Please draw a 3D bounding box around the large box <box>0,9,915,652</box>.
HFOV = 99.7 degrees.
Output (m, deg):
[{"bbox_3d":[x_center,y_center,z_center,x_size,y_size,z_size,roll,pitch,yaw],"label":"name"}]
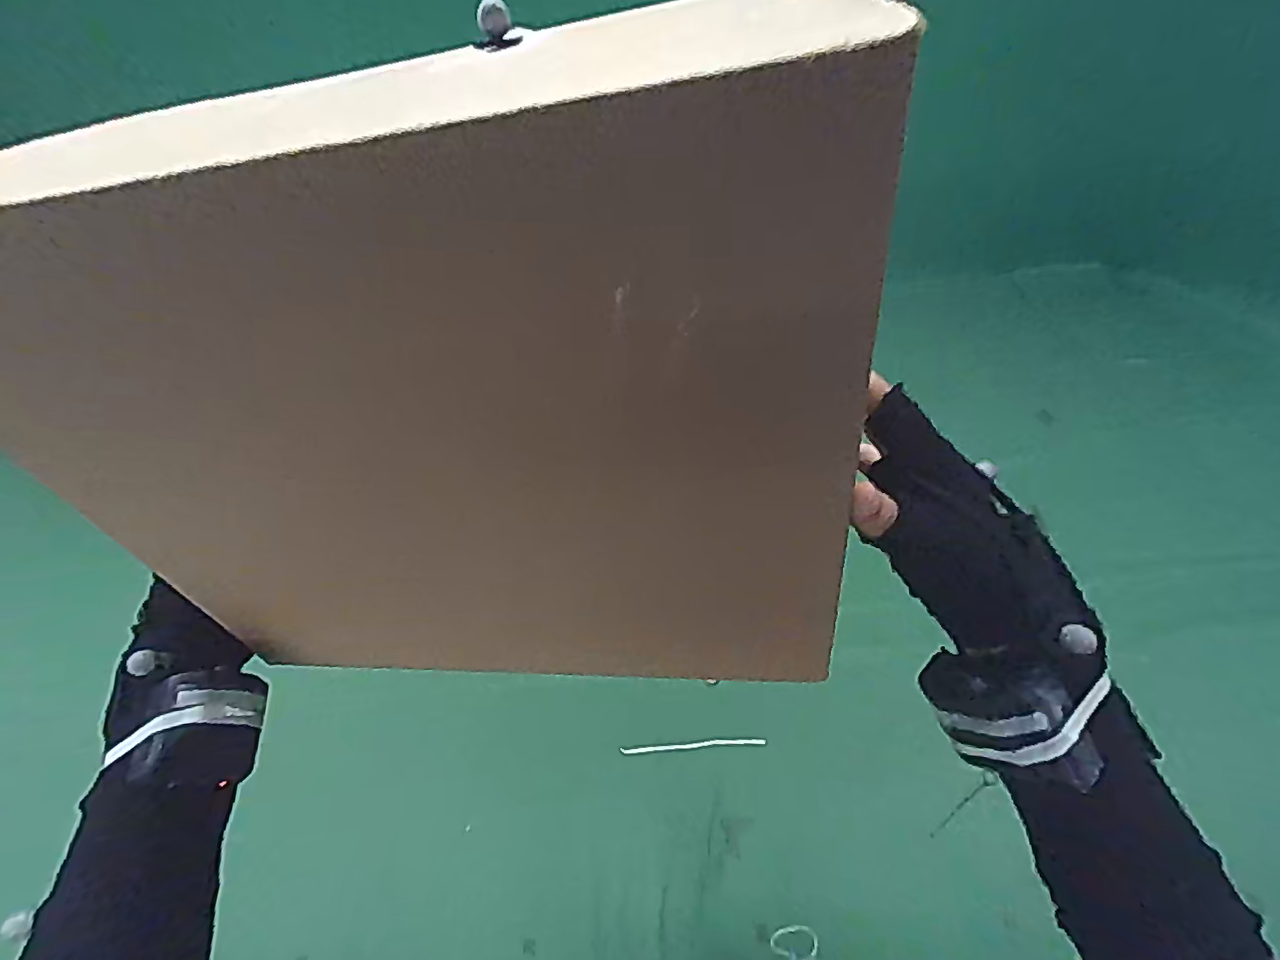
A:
[{"bbox_3d":[-0.082,-0.091,0.387,0.408,0.320,0.320,-2,44,10],"label":"large box"}]
